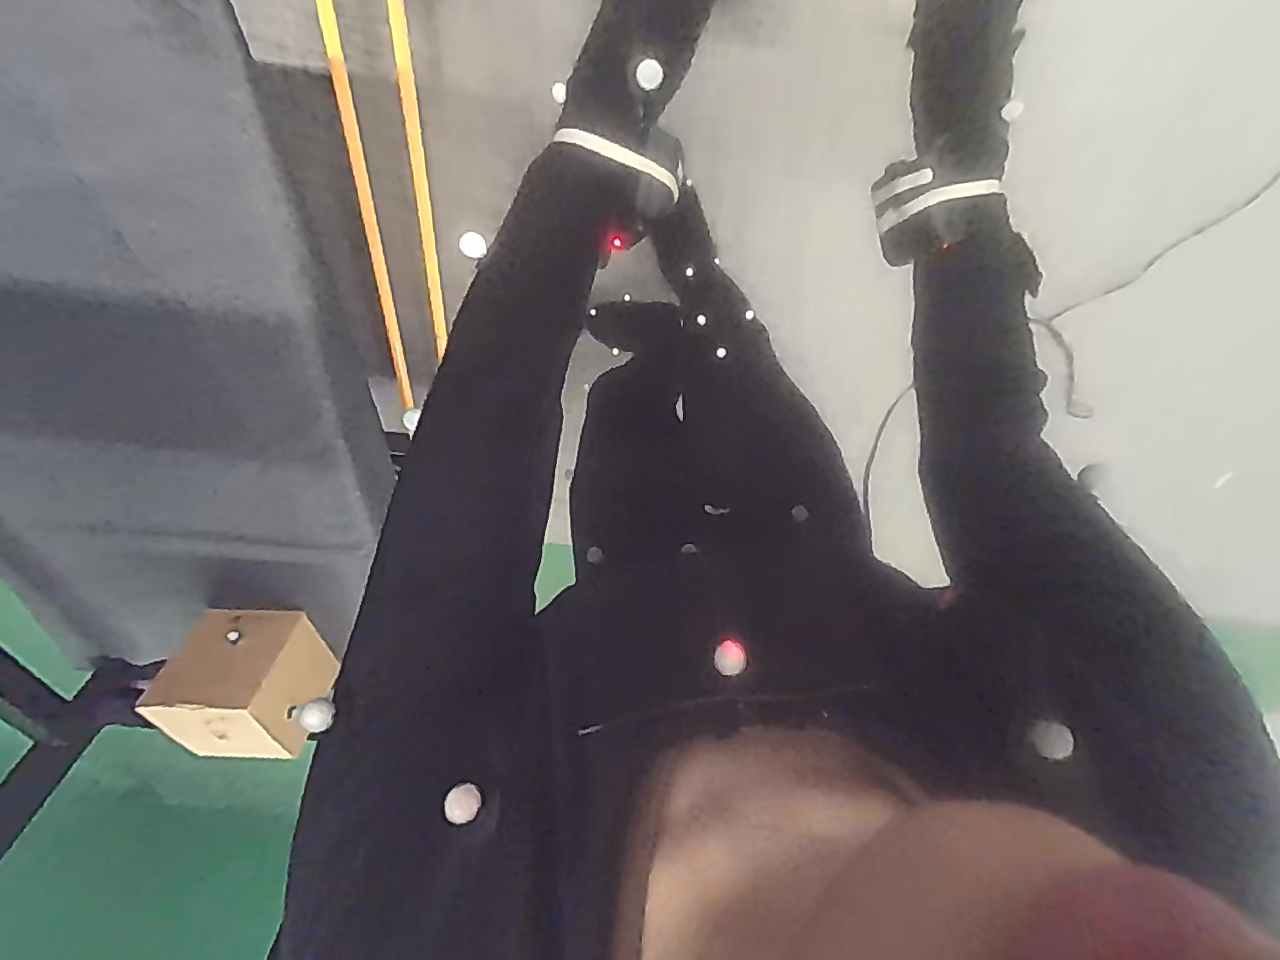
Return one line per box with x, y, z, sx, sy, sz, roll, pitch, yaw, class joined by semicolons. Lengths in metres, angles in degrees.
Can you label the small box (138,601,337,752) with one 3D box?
-0.636;0.321;0.886;0.168;0.176;0.179;2;131;1;small box
